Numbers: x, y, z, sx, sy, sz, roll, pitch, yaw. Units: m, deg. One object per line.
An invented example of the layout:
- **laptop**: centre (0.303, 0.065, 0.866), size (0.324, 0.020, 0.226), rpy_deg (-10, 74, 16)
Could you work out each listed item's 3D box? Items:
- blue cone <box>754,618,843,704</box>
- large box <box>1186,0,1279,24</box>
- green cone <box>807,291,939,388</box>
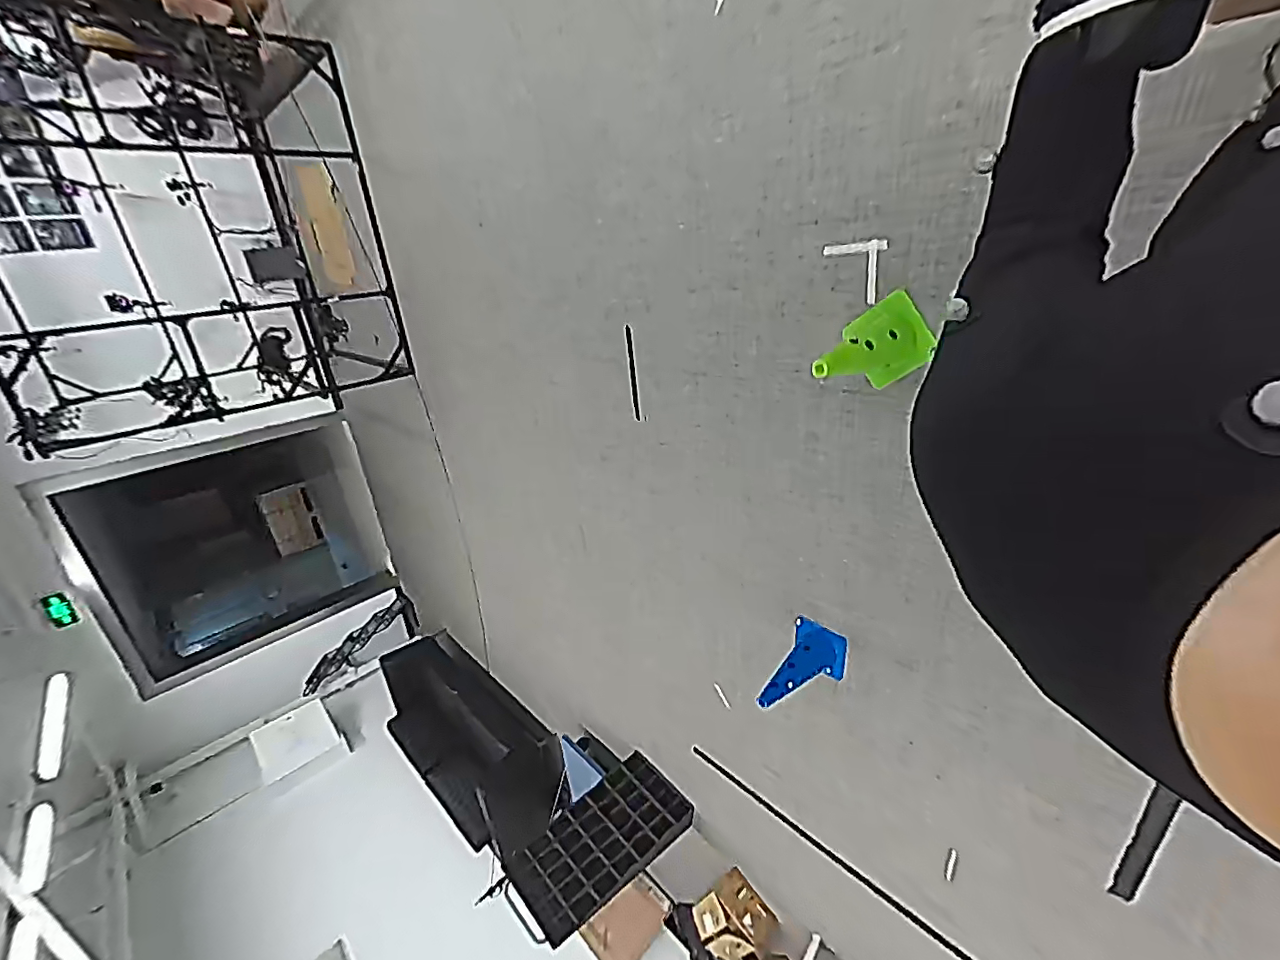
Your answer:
- **blue cone**: centre (0.537, 0.670, 1.898), size (0.192, 0.380, 0.193), rpy_deg (24, 126, 43)
- **large box**: centre (0.545, -0.469, 0.230), size (0.408, 0.320, 0.320), rpy_deg (19, 127, 43)
- **green cone**: centre (0.533, -0.312, 1.336), size (0.200, 0.368, 0.202), rpy_deg (62, 144, 7)
